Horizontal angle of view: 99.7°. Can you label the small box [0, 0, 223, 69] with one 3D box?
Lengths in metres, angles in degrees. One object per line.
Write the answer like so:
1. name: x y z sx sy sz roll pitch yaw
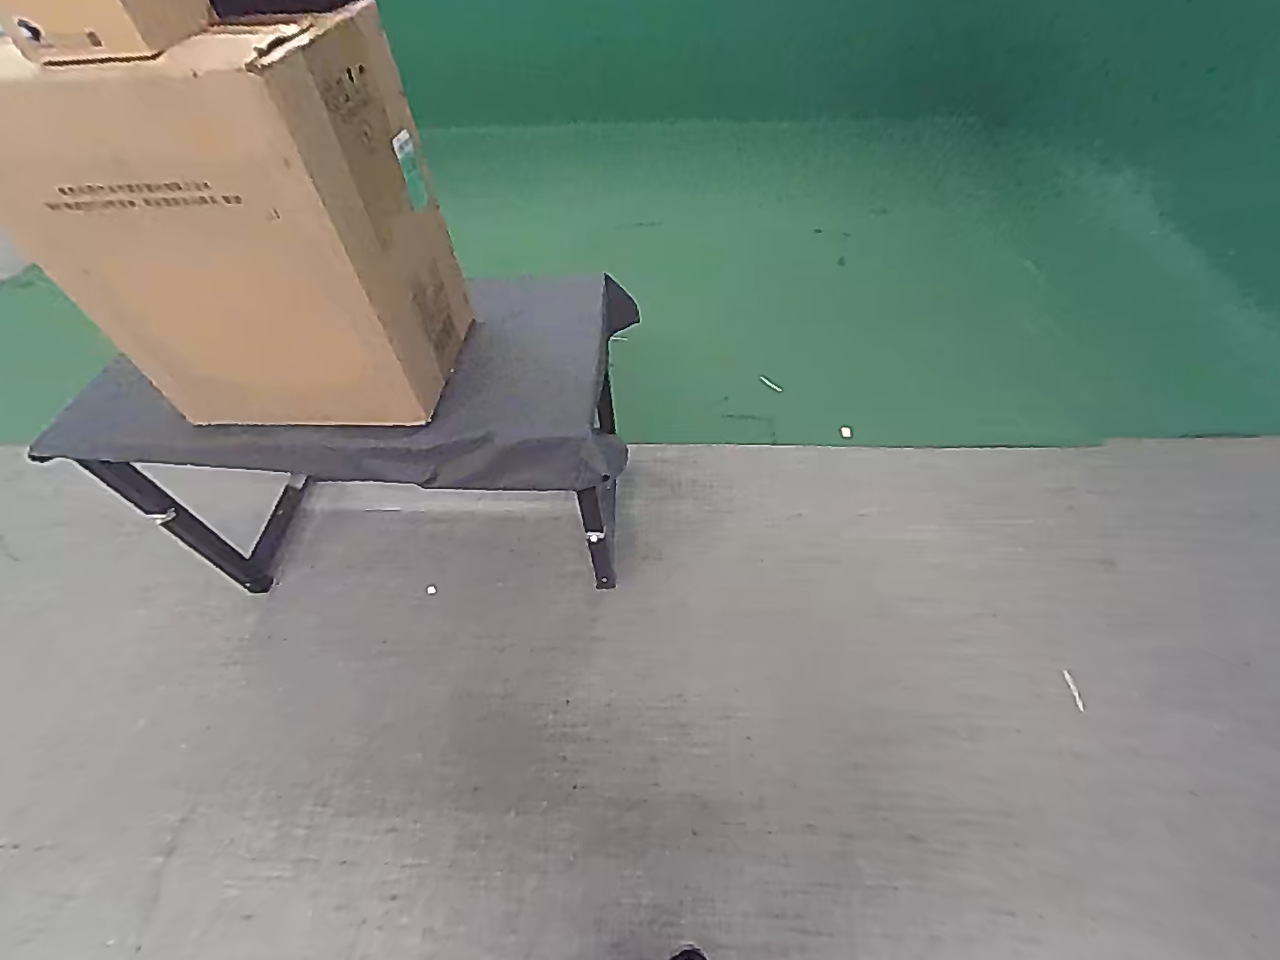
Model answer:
1. small box: -0.683 -0.638 0.679 0.168 0.176 0.179 -1 51 2
